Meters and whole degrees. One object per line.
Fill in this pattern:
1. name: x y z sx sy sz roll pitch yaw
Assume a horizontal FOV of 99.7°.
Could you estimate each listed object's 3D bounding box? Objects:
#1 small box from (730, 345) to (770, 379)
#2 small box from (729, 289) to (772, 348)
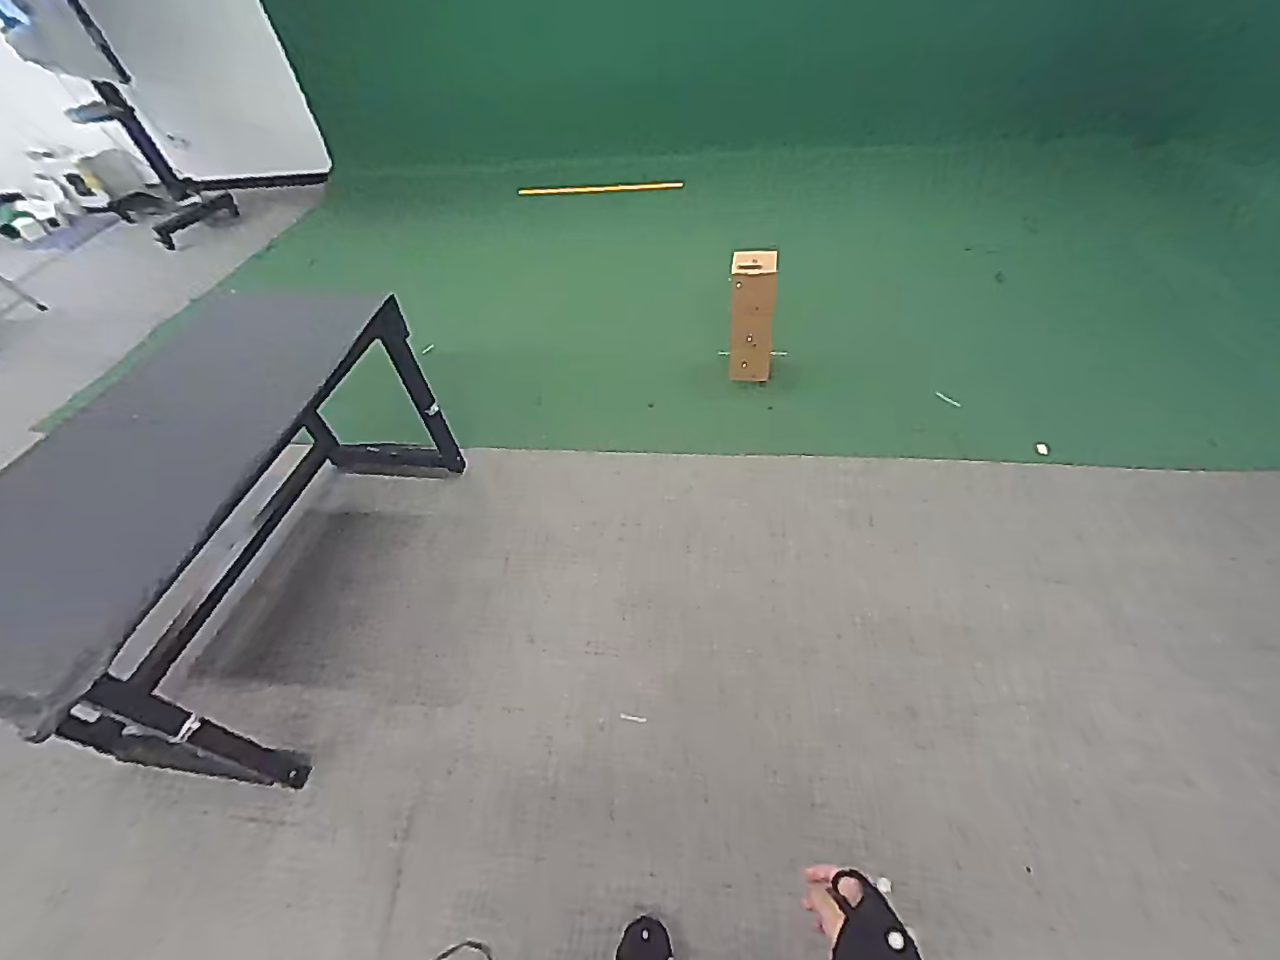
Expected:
1. small box: 0.474 -0.552 2.339 0.168 0.176 0.179 1 48 10
2. small box: 0.452 -0.663 2.218 0.168 0.176 0.179 3 49 12
